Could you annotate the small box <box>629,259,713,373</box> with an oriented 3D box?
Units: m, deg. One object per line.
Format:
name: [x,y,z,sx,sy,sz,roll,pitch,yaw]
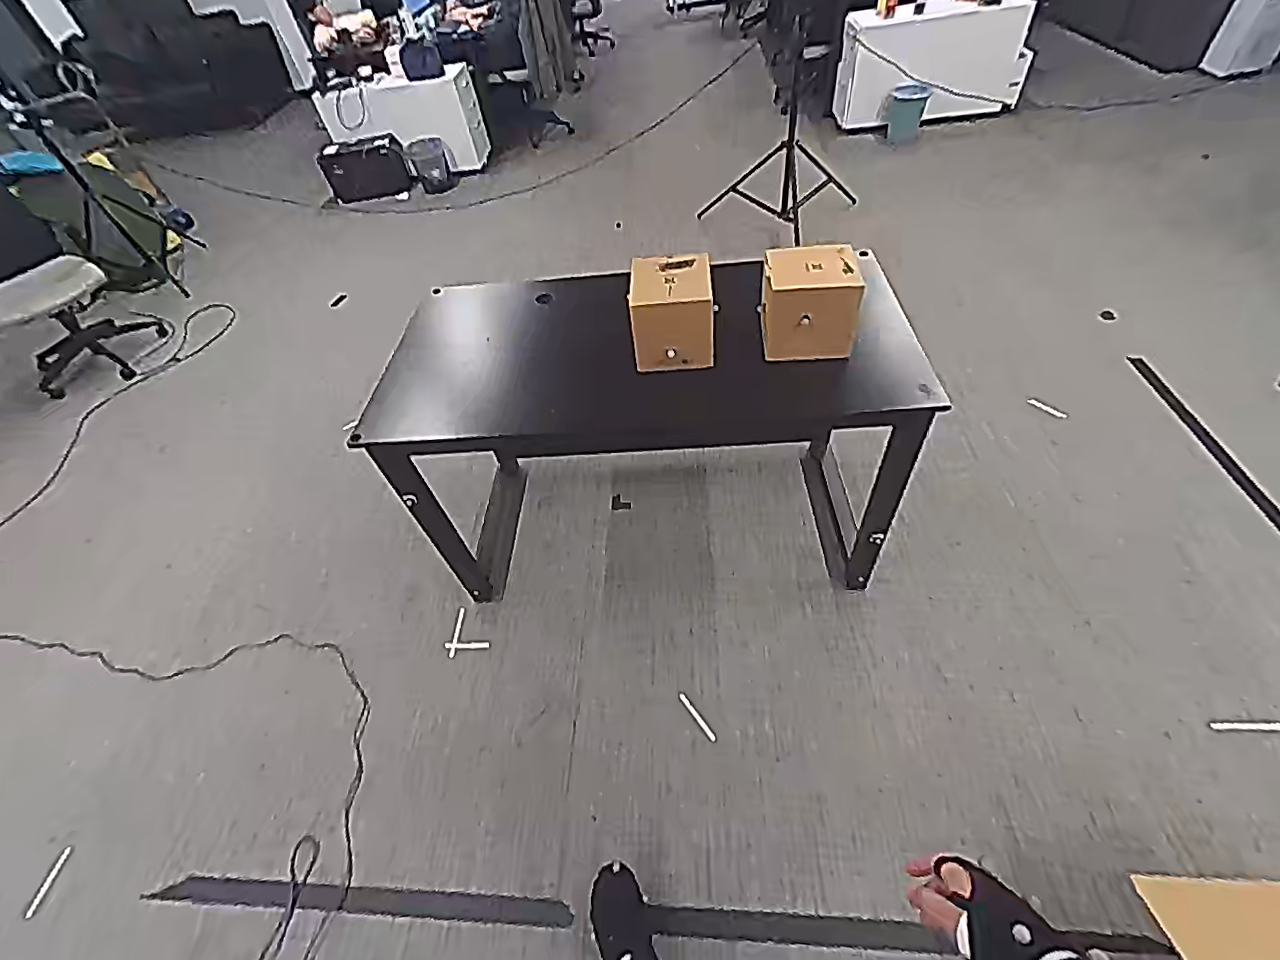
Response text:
small box: [0.071,-0.351,1.166,0.168,0.176,0.179,-3,50,6]

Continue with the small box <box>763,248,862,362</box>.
small box: [0.350,-0.362,1.134,0.179,0.176,0.168,-1,49,9]
